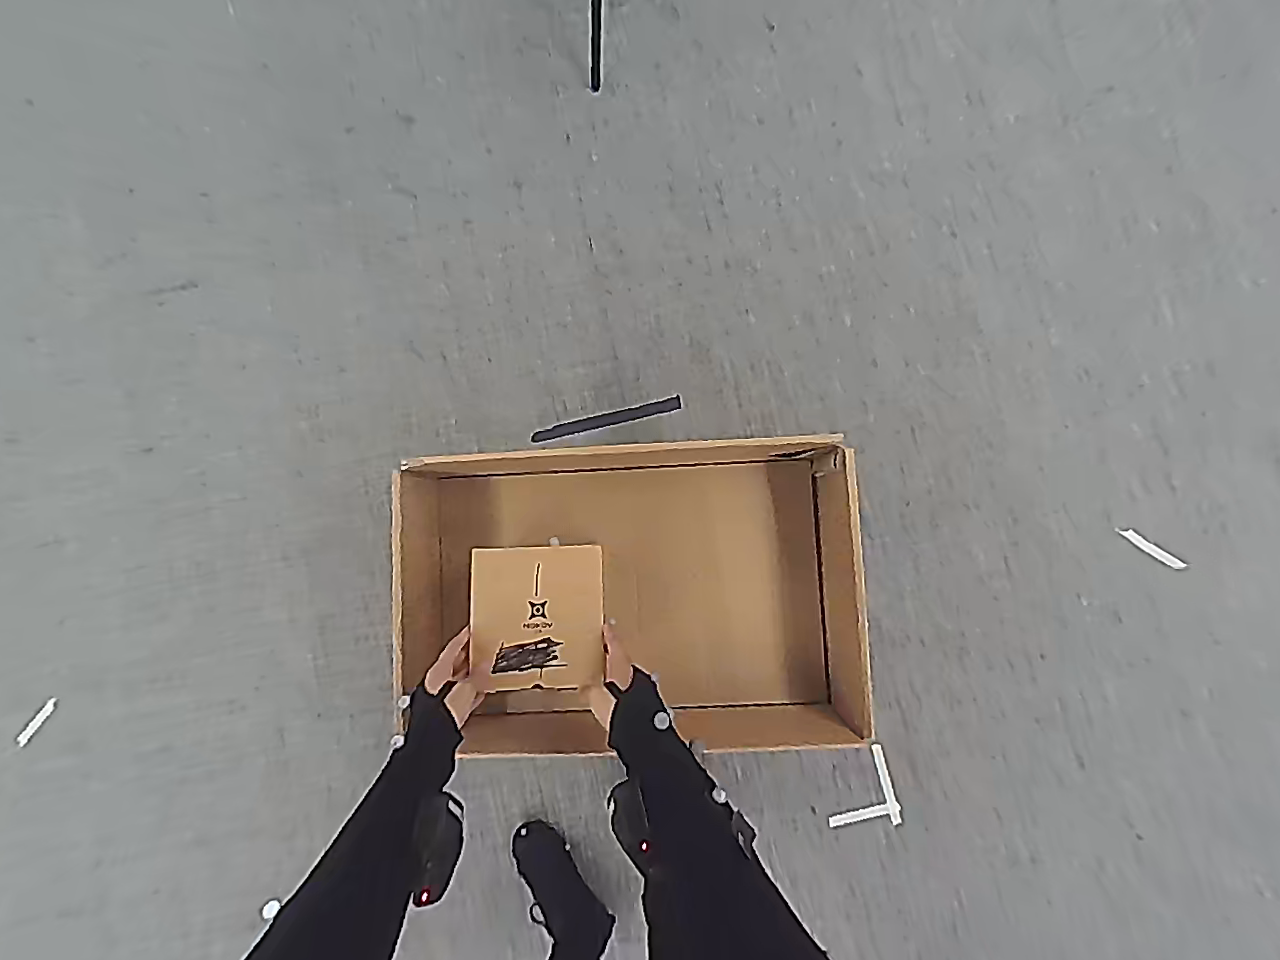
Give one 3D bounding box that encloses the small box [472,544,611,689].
[{"bbox_3d":[-0.126,0.179,0.749,0.168,0.176,0.179,-1,81,-1],"label":"small box"}]
